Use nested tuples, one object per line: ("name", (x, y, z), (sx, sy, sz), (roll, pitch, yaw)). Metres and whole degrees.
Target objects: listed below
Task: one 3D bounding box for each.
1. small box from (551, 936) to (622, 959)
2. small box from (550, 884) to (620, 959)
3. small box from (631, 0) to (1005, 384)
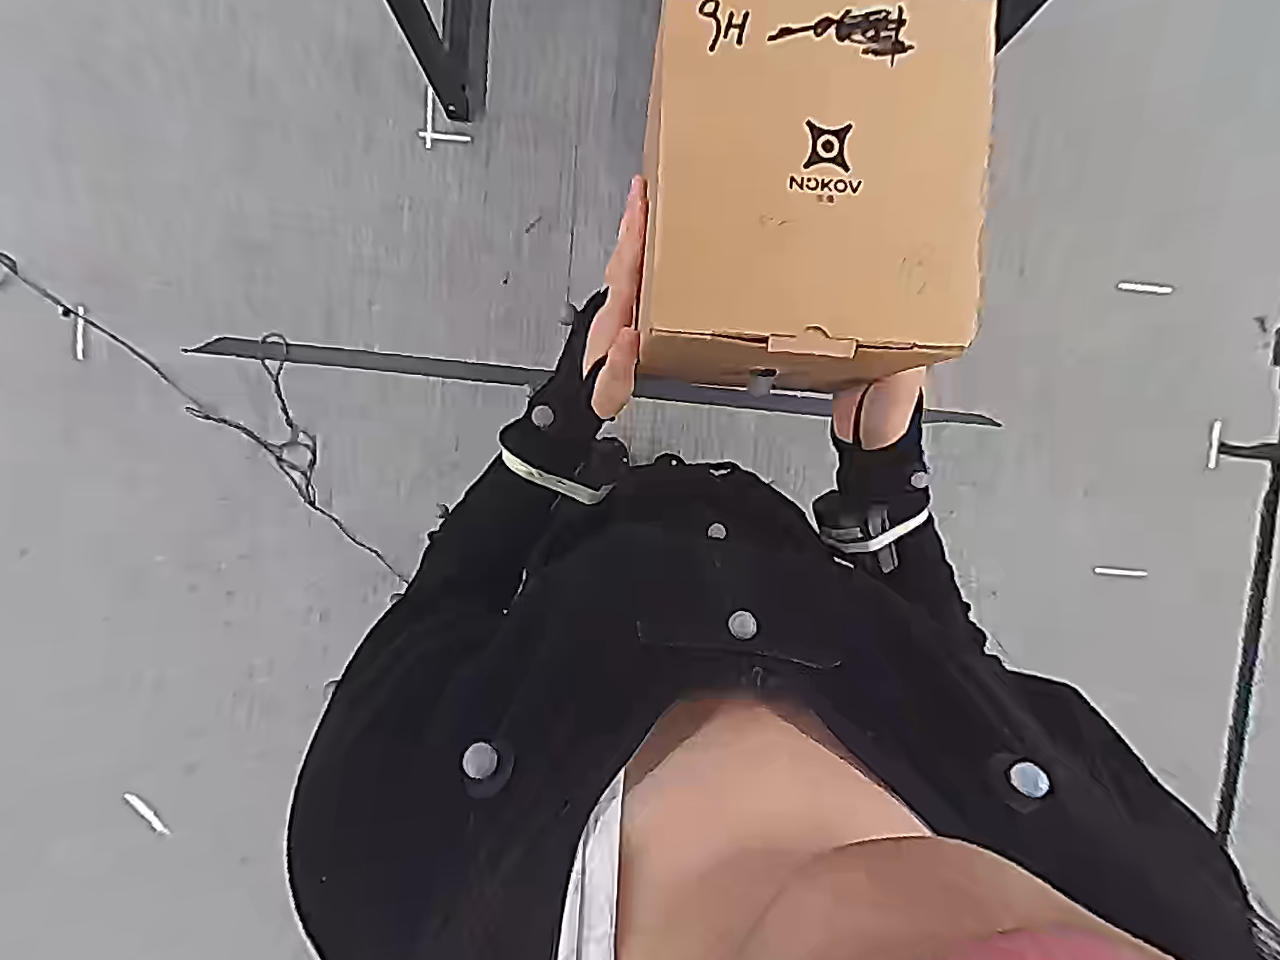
("small box", (-0.141, 1.258, 1.311), (0.179, 0.176, 0.168), (7, 93, -4))
("small box", (-0.150, 1.246, 1.475), (0.179, 0.176, 0.168), (6, 93, -4))
("small box", (0.083, -0.158, 0.338), (0.168, 0.176, 0.179), (3, 93, -5))
